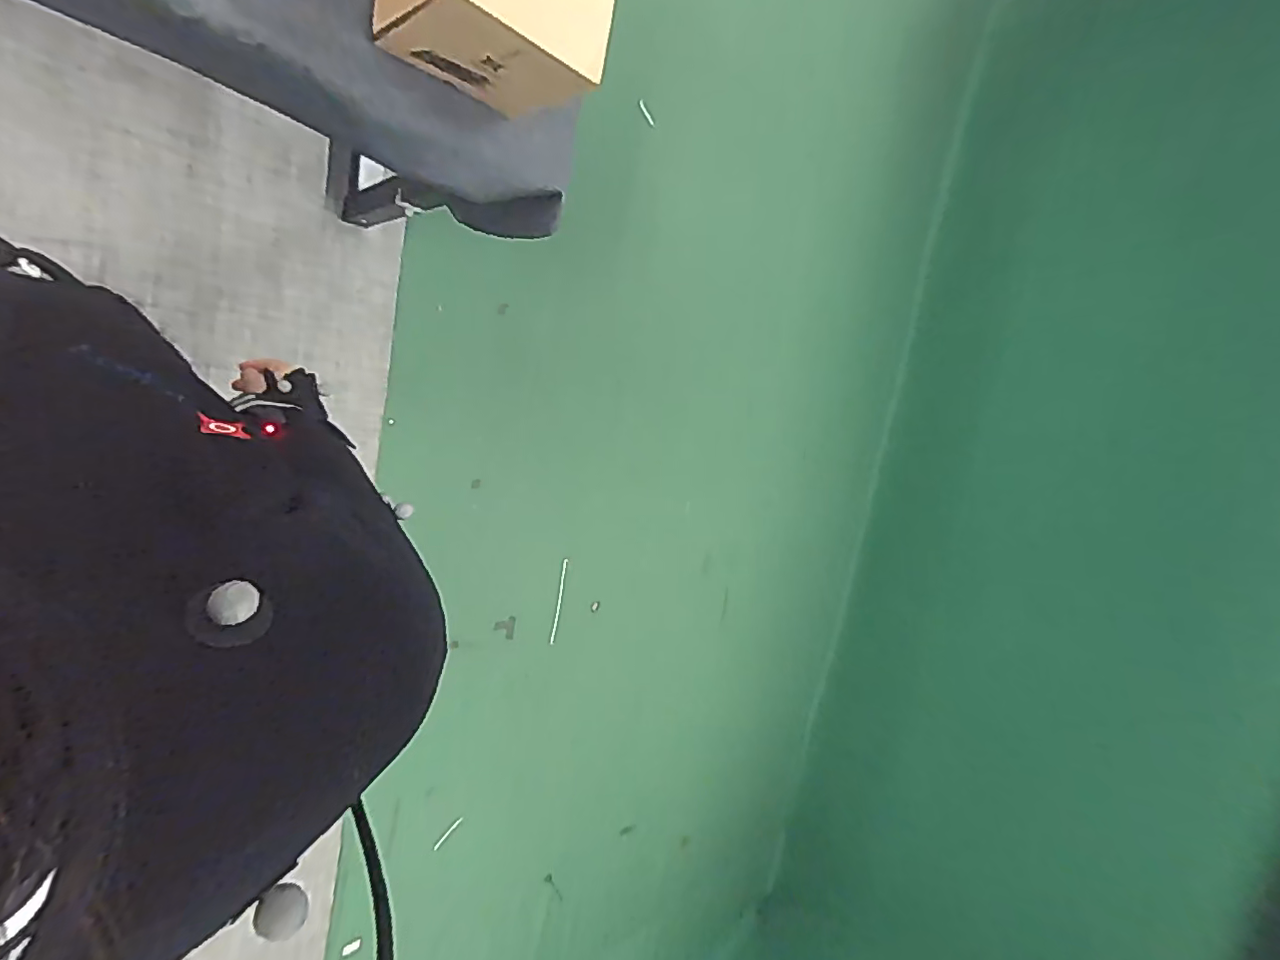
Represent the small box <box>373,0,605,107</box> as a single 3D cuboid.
[{"bbox_3d":[-0.138,-0.507,0.528,0.168,0.179,0.176,-3,109,-46],"label":"small box"}]
